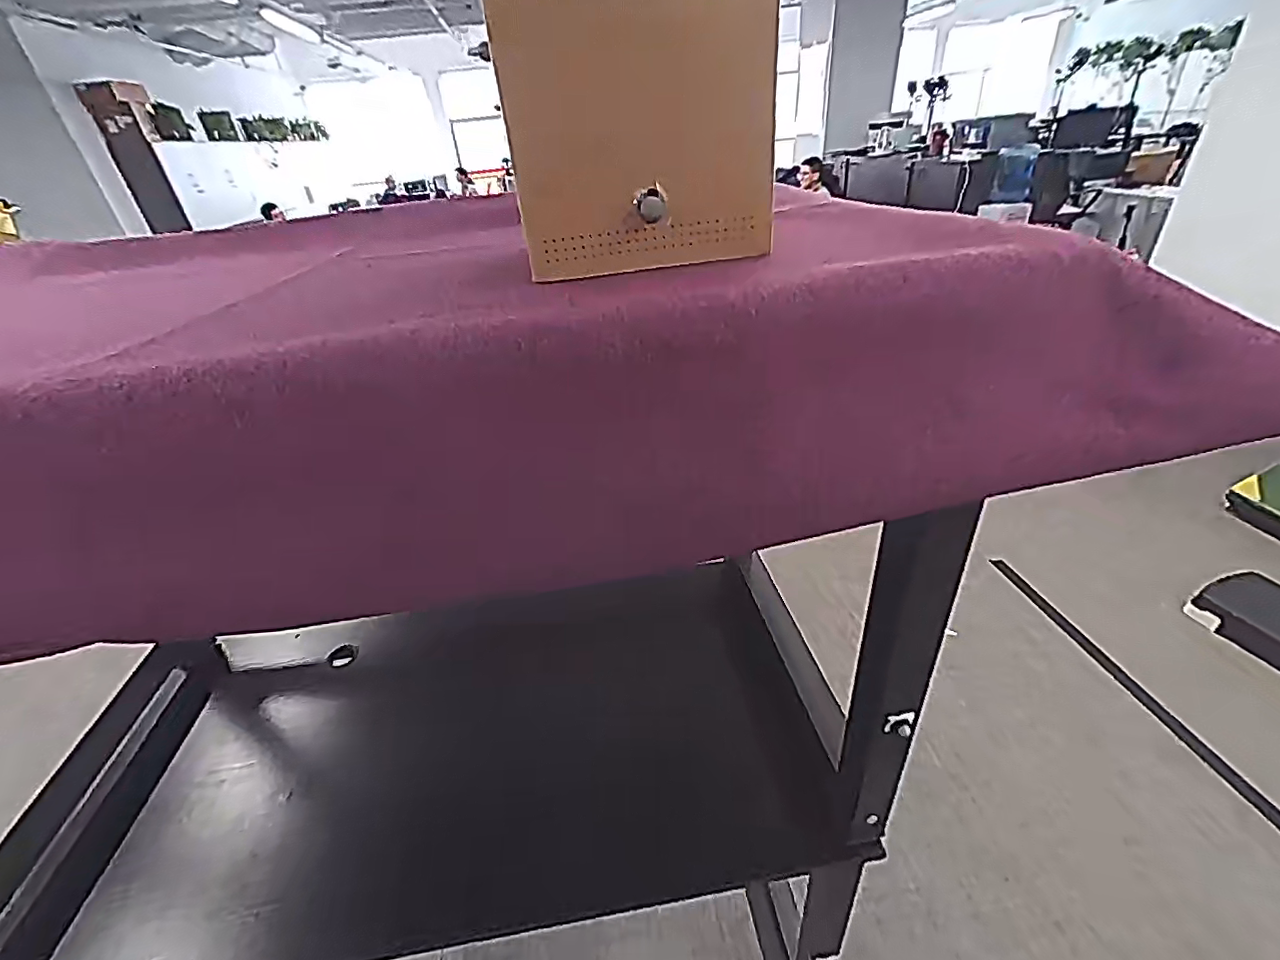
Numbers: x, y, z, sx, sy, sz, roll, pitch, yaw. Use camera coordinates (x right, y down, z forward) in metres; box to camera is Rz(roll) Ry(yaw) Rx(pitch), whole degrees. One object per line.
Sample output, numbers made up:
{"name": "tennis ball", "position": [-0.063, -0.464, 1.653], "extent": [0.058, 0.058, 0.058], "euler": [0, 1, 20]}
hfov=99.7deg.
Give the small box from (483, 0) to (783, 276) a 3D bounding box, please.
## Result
{"name": "small box", "position": [-0.007, -0.264, 0.409], "extent": [0.179, 0.176, 0.168], "euler": [-8, 32, -4]}
